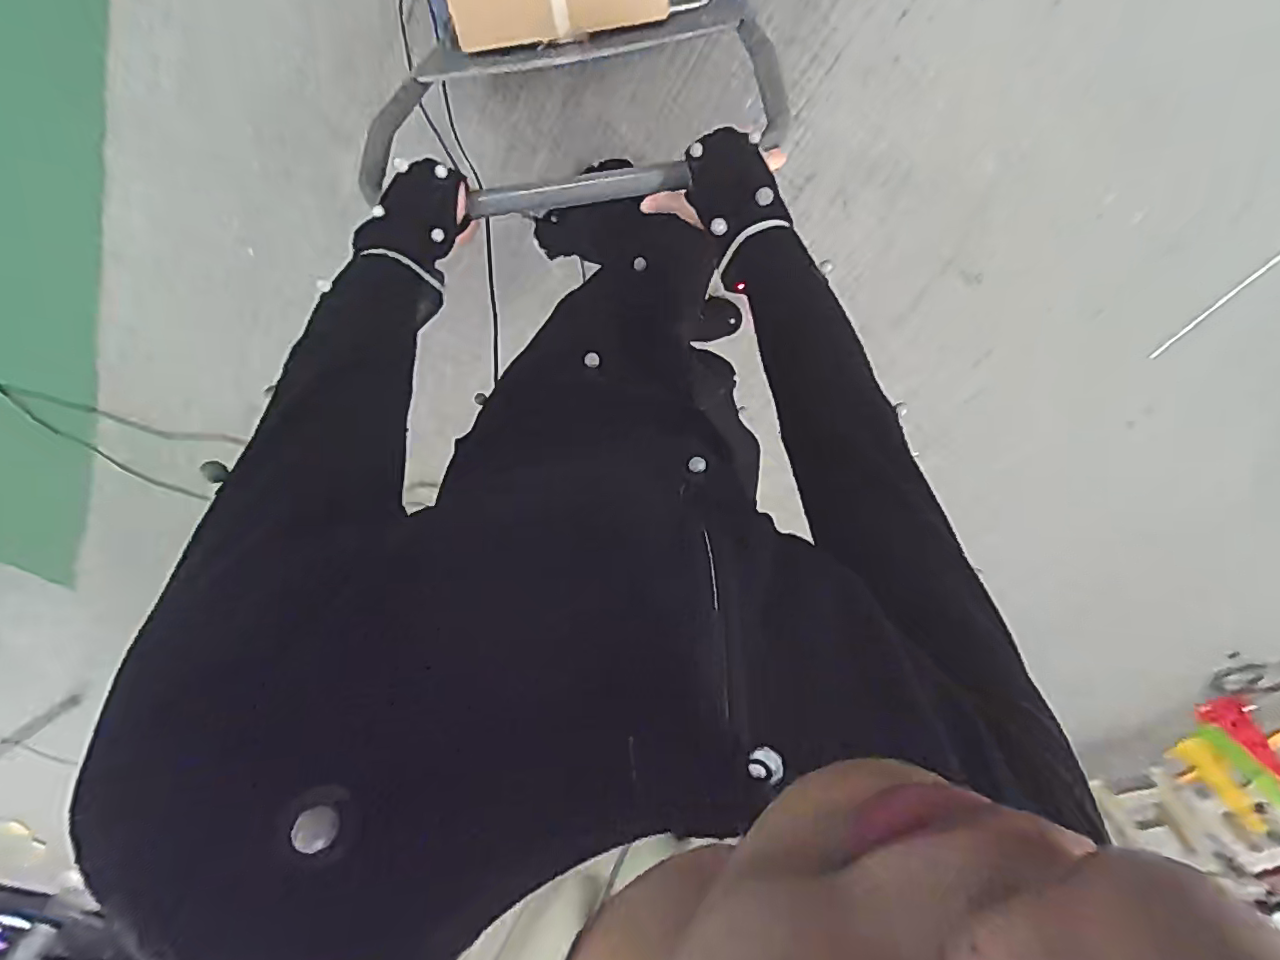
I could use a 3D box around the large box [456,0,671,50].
[{"bbox_3d":[-0.132,-0.909,0.765,0.320,0.320,0.408,-5,136,6],"label":"large box"}]
